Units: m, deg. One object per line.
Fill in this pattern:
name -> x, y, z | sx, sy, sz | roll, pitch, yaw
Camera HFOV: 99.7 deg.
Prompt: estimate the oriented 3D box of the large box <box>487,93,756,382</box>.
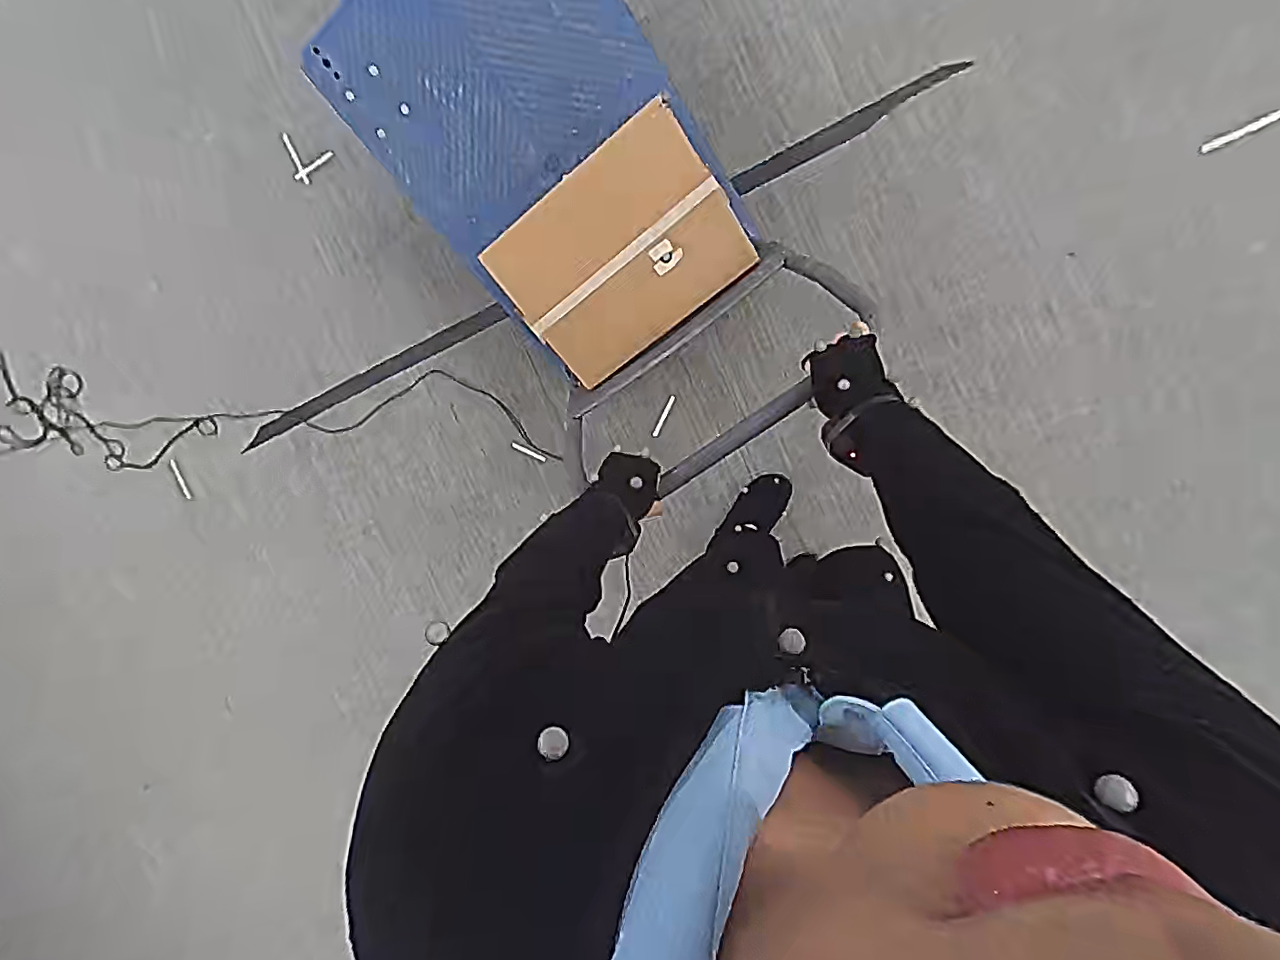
large box -> -0.041, -0.474, 1.112 | 0.408, 0.320, 0.320 | -36, 114, 13
